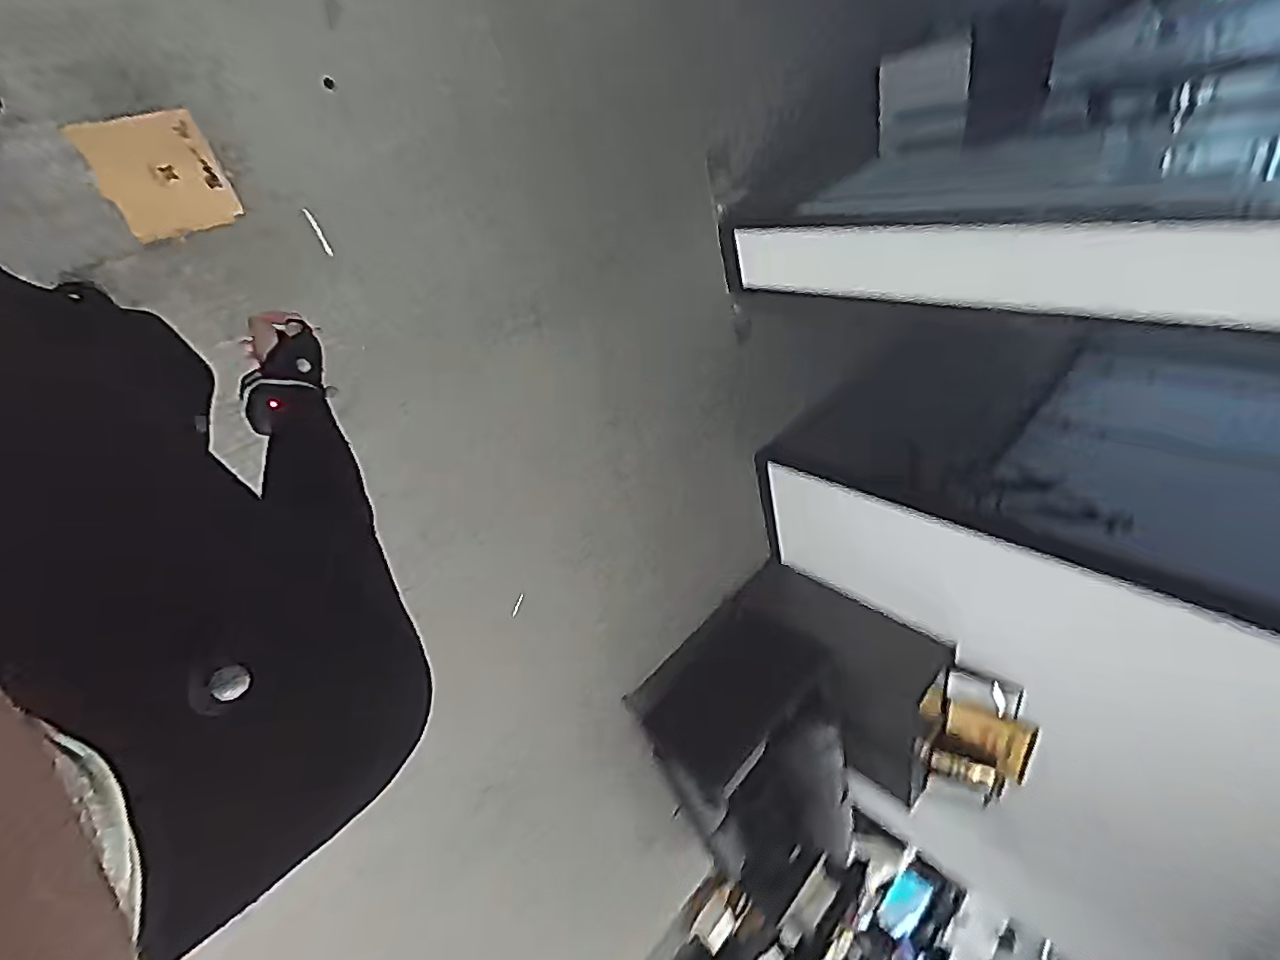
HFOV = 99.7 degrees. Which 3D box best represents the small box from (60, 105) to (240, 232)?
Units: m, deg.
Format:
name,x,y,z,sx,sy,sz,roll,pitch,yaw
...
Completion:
name,x,y,z,sx,sy,sz,roll,pitch,yaw
small box,-0.863,-0.550,0.968,0.179,0.176,0.168,-33,128,-28
